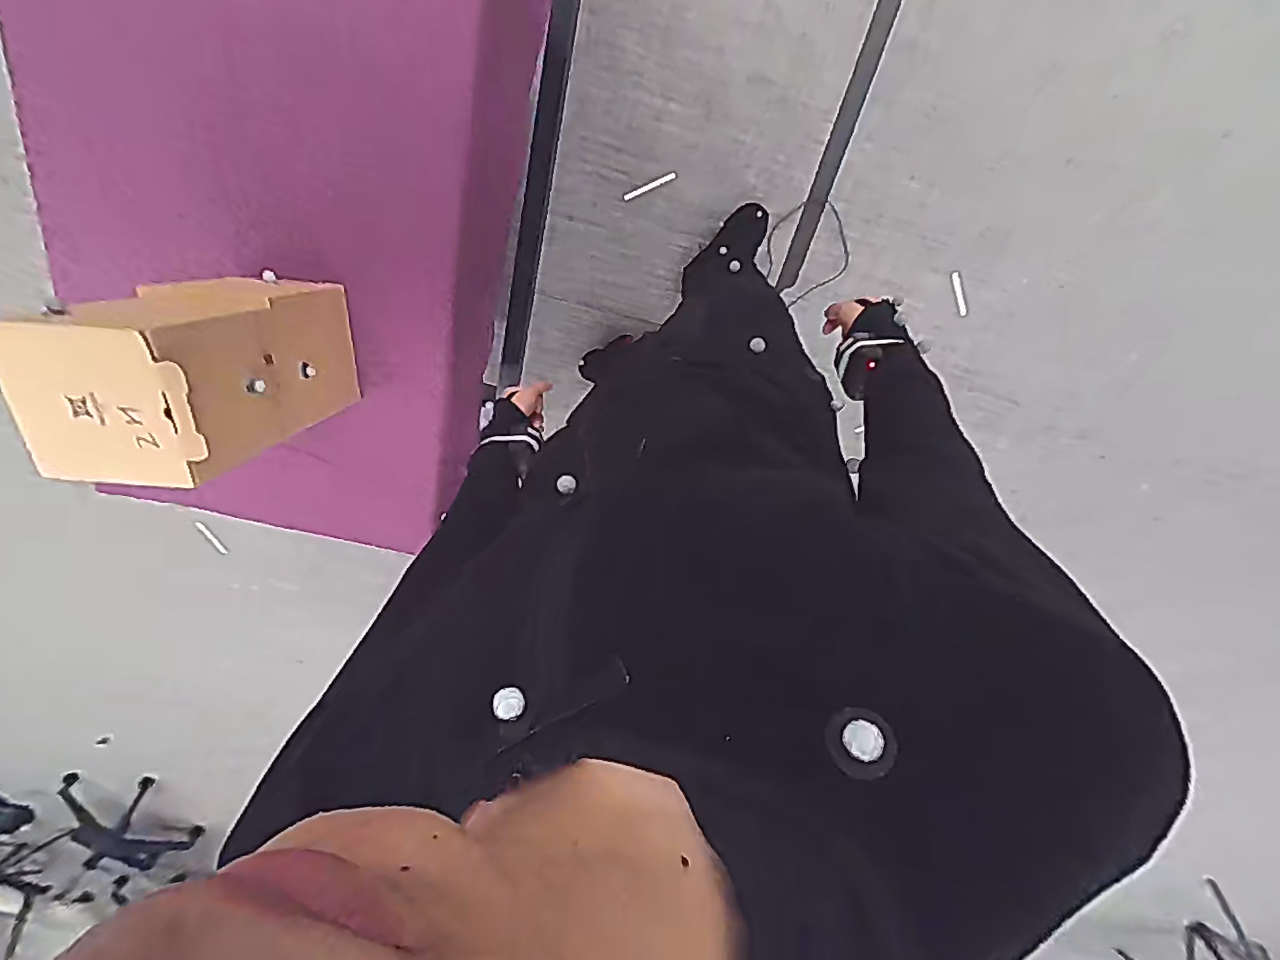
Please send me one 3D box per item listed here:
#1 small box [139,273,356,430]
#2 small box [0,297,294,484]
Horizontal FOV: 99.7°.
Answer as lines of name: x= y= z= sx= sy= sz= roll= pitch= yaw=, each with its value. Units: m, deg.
small box: x=-0.525 y=-0.186 z=0.758 sx=0.168 sy=0.176 sz=0.179 roll=5 pitch=114 yaw=1
small box: x=-0.541 y=-0.110 z=0.612 sx=0.179 sy=0.176 sz=0.168 roll=4 pitch=116 yaw=2
